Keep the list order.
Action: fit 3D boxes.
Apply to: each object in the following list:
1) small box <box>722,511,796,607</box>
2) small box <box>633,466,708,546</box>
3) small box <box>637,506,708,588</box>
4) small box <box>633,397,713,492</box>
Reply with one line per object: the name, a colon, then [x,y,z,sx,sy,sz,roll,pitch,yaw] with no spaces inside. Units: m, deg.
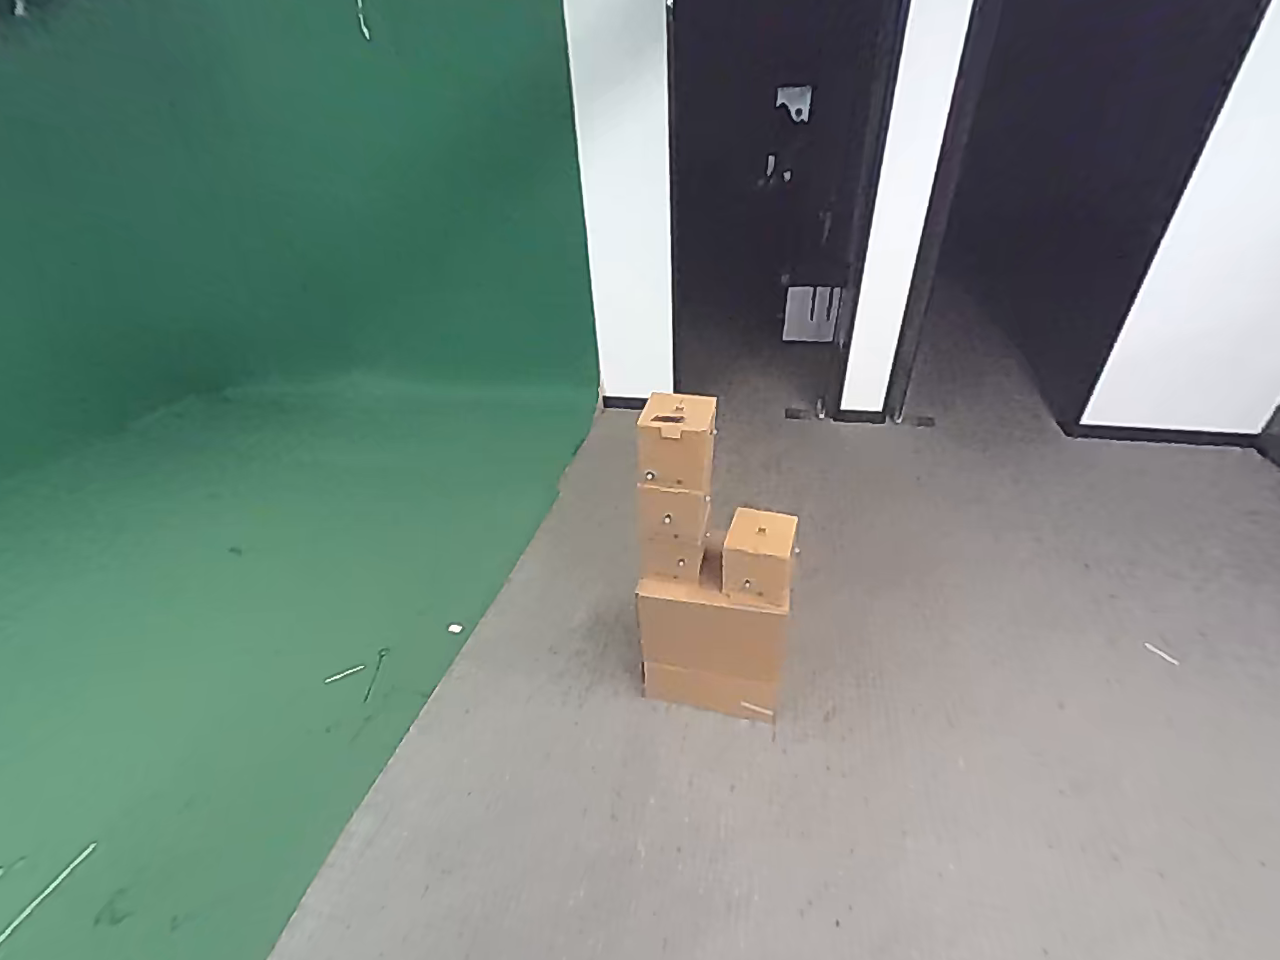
small box: [0.317,0.209,1.453,0.168,0.176,0.179,8,36,19]
small box: [0.084,0.051,1.419,0.168,0.176,0.179,7,37,11]
small box: [0.095,0.180,1.520,0.168,0.176,0.179,8,36,13]
small box: [0.085,-0.088,1.331,0.168,0.176,0.179,7,35,11]
